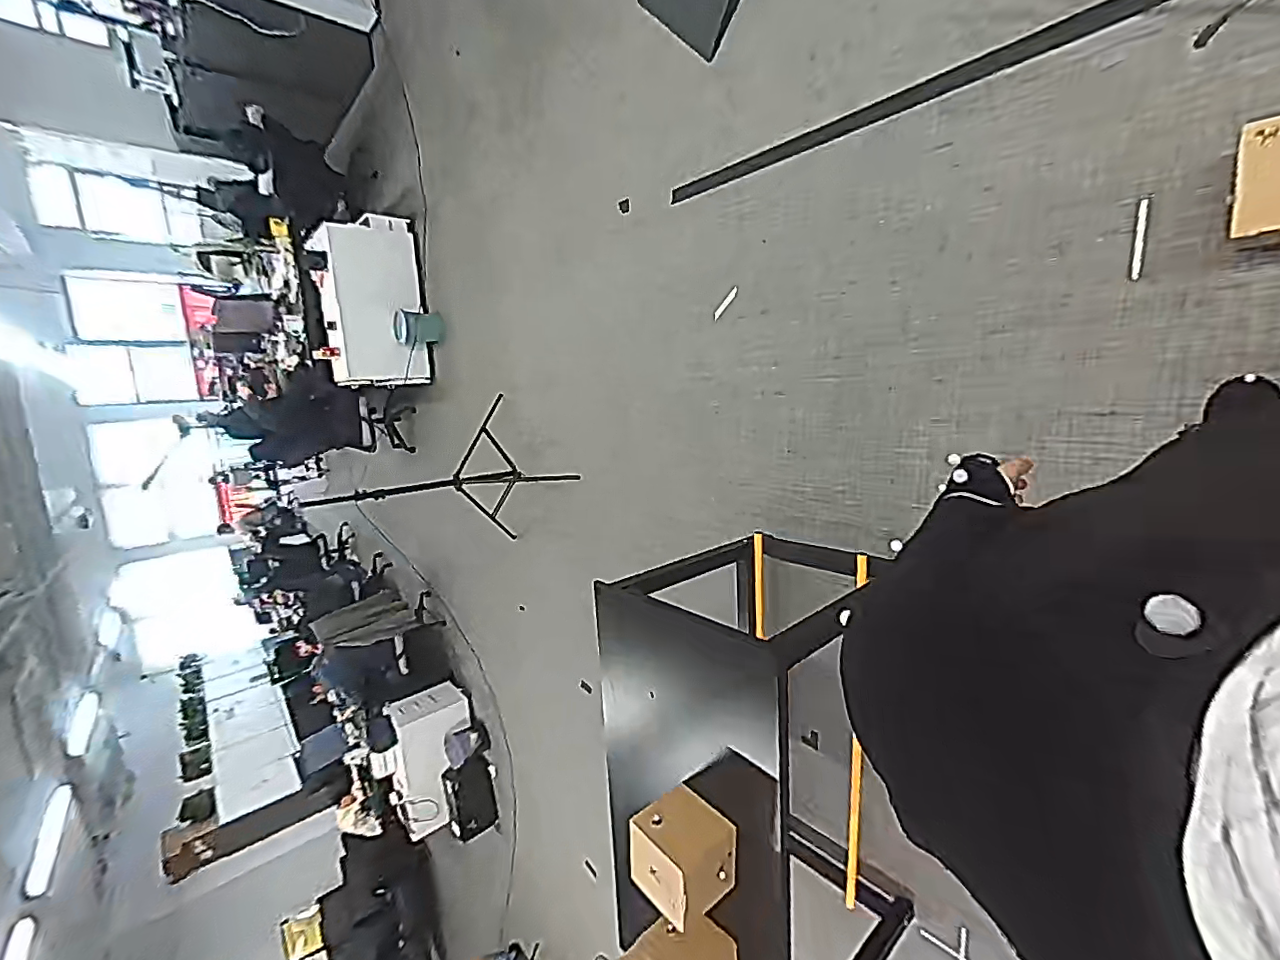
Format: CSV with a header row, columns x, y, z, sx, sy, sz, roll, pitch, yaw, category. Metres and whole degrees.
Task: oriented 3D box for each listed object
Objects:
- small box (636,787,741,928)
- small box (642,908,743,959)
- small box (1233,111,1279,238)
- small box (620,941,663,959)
x,y,z,sx,sy,sz,roll,pitch,yaw,category
0.107,0.839,1.229,0.179,0.176,0.168,14,110,48,small box
0.129,1.158,1.287,0.179,0.176,0.168,2,102,49,small box
1.088,-0.497,0.865,0.168,0.176,0.179,8,106,50,small box
0.006,1.186,1.181,0.168,0.176,0.179,2,101,50,small box
